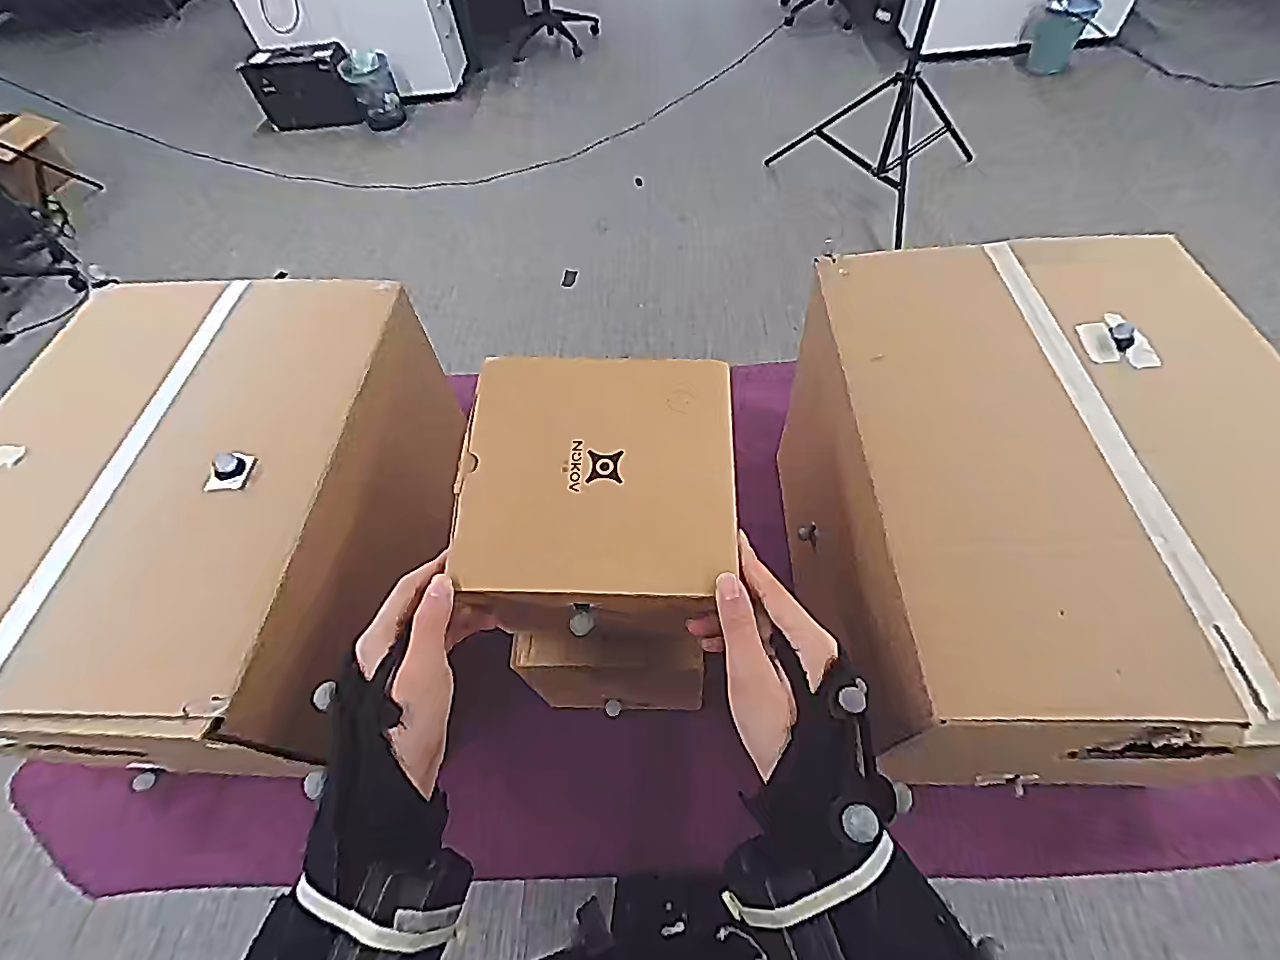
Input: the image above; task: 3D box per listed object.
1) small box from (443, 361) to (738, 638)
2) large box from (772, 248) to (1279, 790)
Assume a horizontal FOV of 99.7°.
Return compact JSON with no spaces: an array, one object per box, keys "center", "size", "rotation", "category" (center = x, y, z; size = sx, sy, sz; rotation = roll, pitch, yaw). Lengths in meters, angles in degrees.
[{"center":[-0.025,0.025,0.419],"size":[0.179,0.176,0.168],"rotation":[0,66,3],"category":"small box"},{"center":[0.318,0.045,0.508],"size":[0.320,0.320,0.408],"rotation":[-2,55,4],"category":"large box"}]
